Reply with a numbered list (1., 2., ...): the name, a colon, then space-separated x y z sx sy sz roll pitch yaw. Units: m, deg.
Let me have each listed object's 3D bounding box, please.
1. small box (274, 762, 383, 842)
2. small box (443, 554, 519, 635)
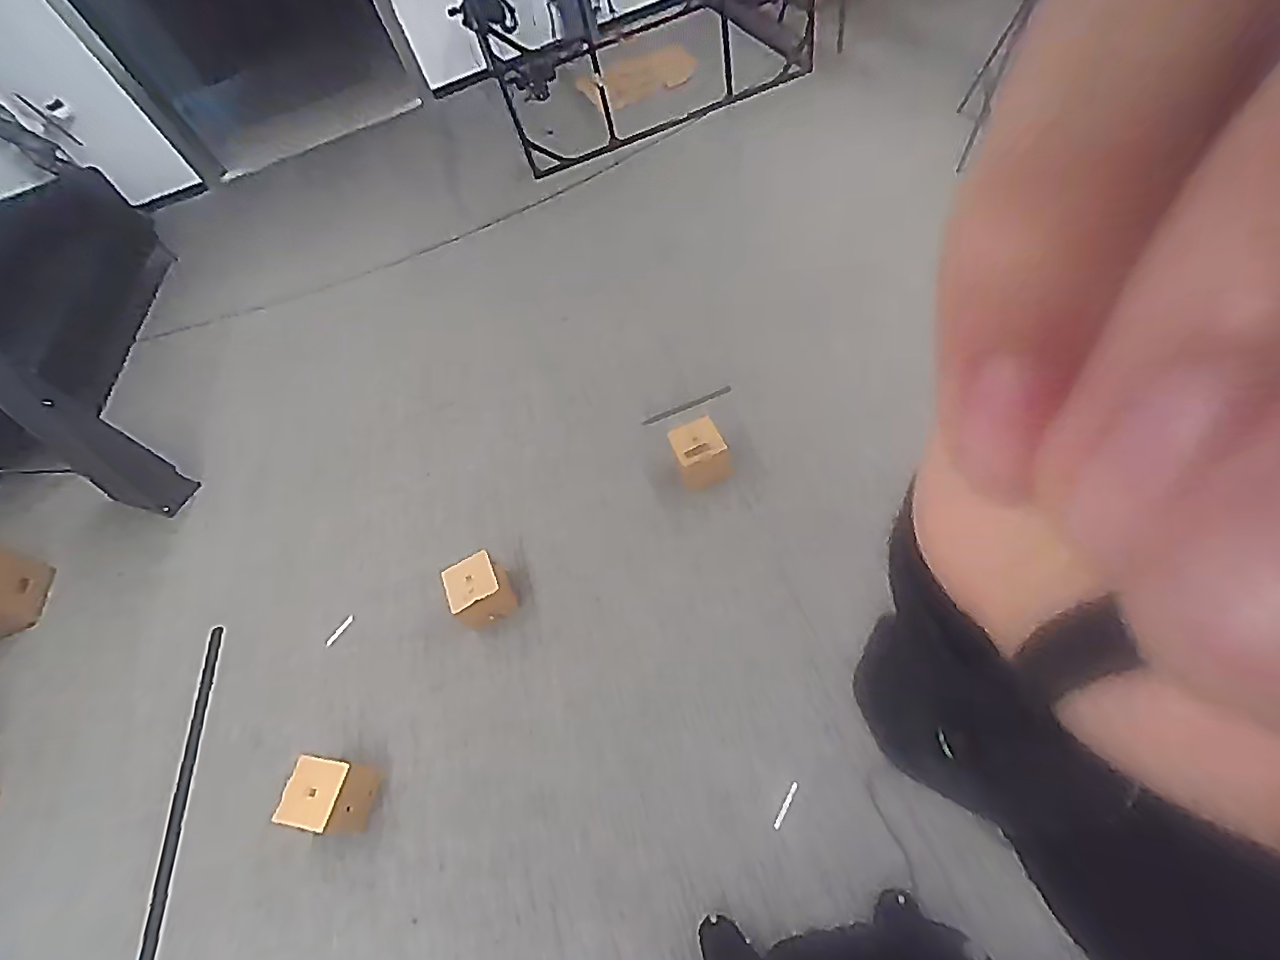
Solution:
1. small box: -0.869 0.913 1.529 0.179 0.176 0.168 0 55 16
2. small box: -0.530 0.388 1.811 0.168 0.176 0.179 -29 53 -6
